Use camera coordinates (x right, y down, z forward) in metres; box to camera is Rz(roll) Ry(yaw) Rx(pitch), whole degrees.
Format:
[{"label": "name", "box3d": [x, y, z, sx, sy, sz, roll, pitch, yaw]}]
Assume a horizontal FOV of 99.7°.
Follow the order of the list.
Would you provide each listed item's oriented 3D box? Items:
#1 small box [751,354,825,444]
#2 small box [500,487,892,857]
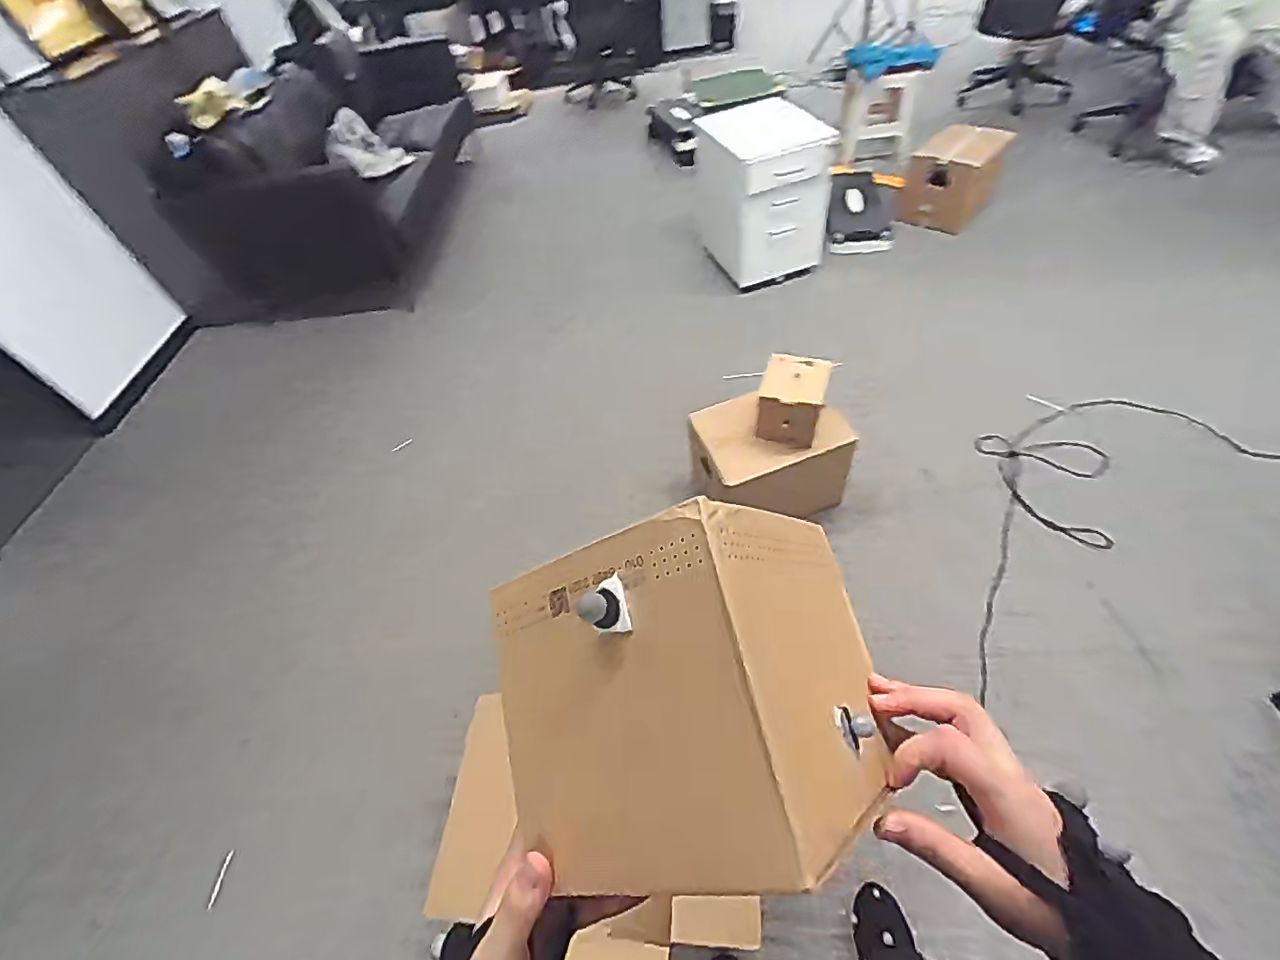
[{"label": "small box", "box3d": [0.414, -0.226, 1.526, 0.168, 0.176, 0.179, 13, 57, 18]}, {"label": "small box", "box3d": [0.033, 0.115, 0.350, 0.168, 0.179, 0.176, -27, 65, 31]}]
